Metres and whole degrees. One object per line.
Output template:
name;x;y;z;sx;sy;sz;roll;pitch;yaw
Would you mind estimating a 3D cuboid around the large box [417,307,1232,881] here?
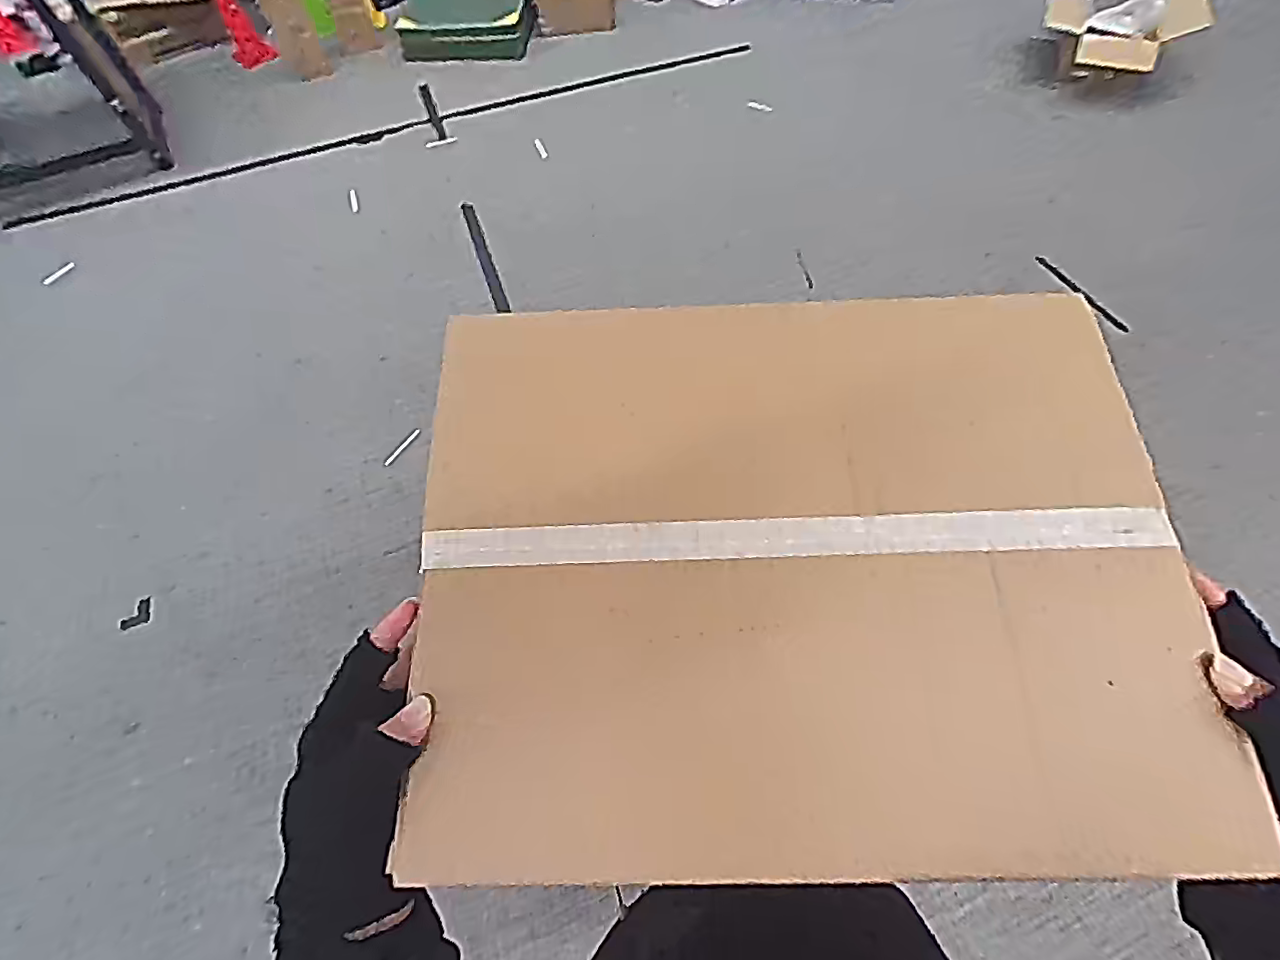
large box;0.083;0.090;0.450;0.408;0.320;0.320;-3;71;1
